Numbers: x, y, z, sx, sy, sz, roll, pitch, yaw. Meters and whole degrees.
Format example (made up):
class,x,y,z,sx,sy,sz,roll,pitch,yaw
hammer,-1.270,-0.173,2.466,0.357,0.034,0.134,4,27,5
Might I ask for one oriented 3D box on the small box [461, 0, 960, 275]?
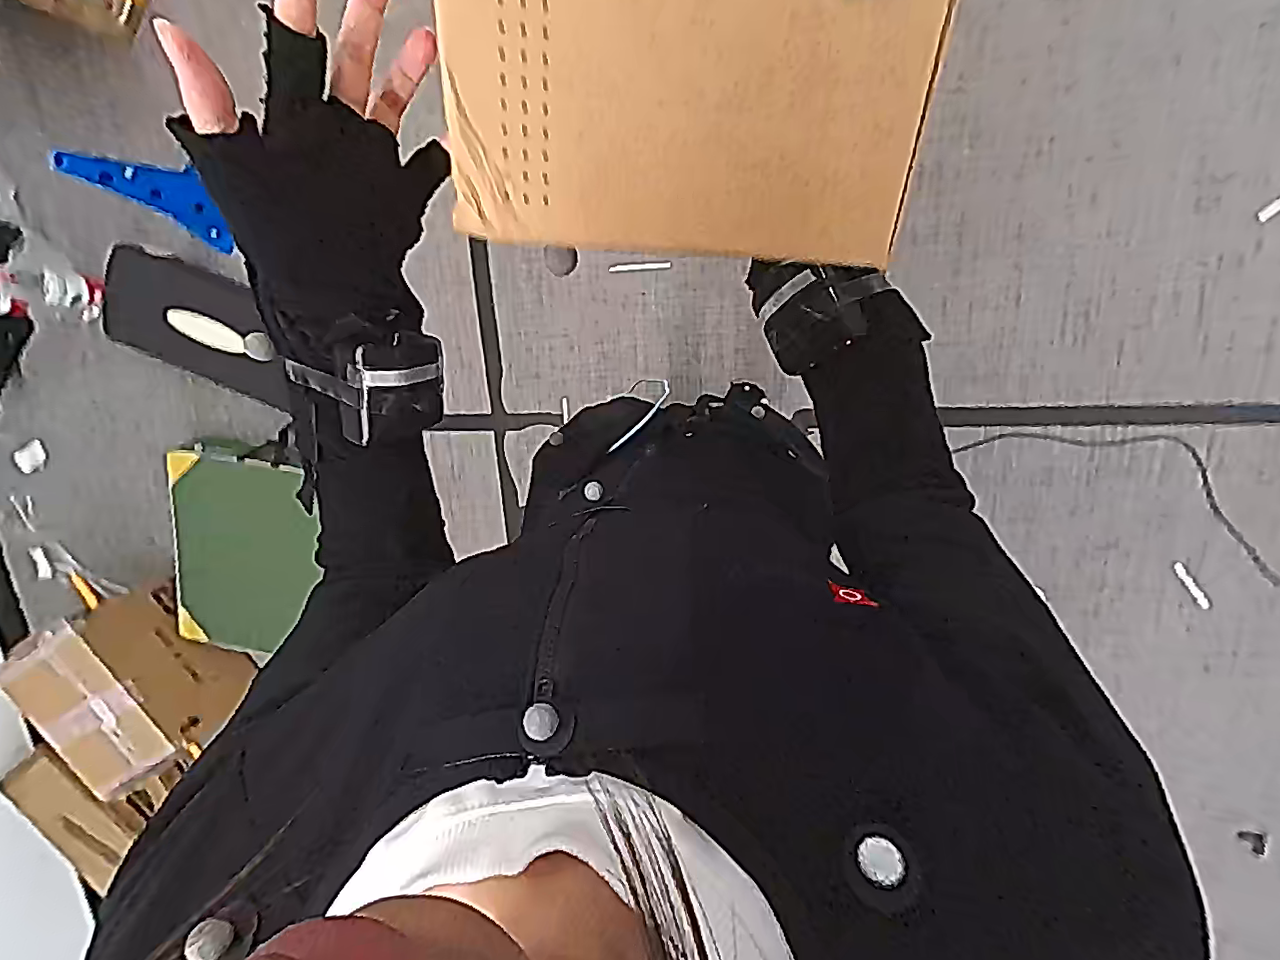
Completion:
class,x,y,z,sx,sy,sz,roll,pitch,yaw
small box,0.013,-0.198,0.241,0.176,0.168,0.179,0,119,-10
